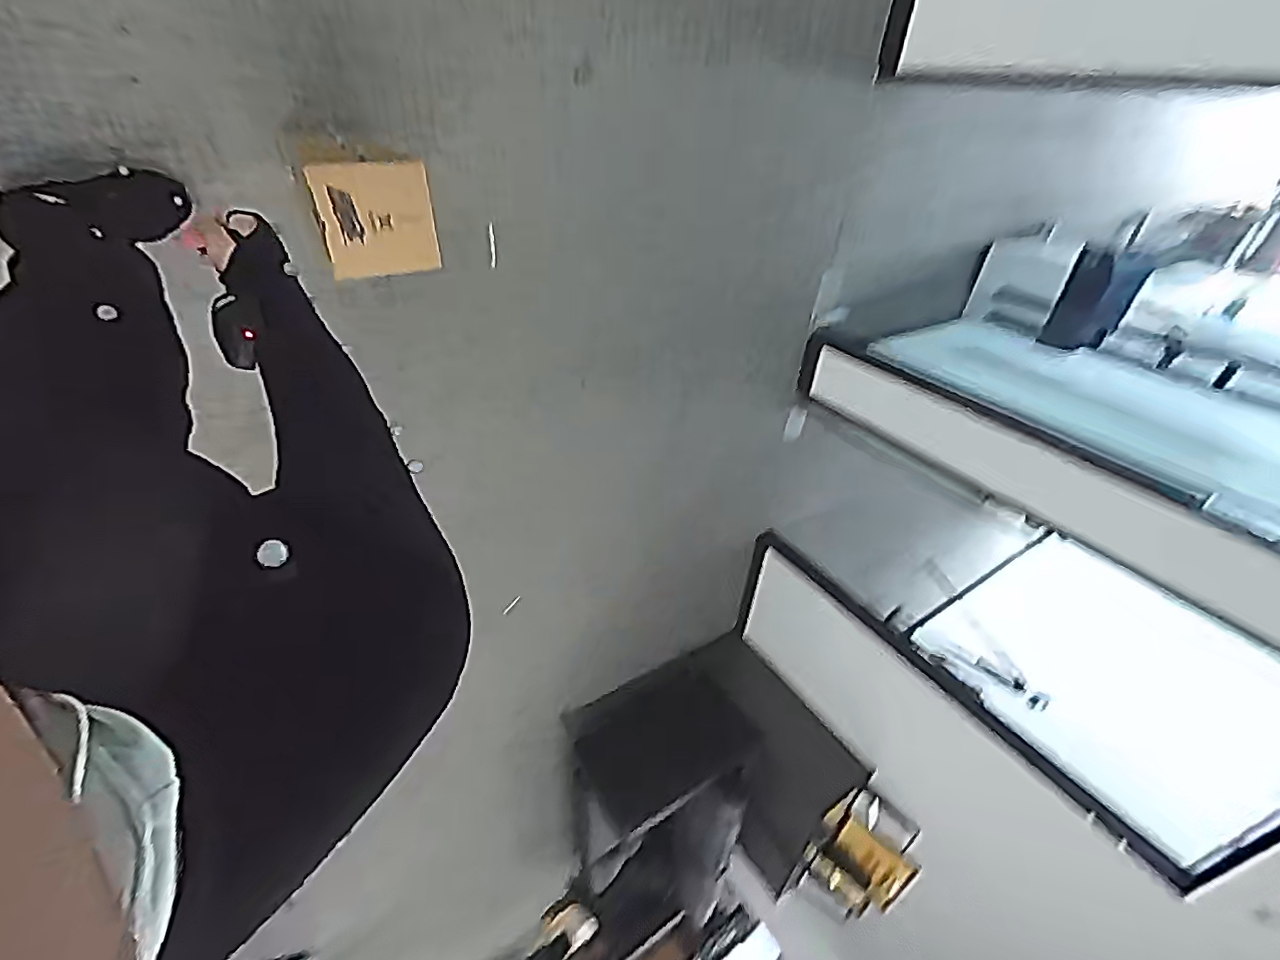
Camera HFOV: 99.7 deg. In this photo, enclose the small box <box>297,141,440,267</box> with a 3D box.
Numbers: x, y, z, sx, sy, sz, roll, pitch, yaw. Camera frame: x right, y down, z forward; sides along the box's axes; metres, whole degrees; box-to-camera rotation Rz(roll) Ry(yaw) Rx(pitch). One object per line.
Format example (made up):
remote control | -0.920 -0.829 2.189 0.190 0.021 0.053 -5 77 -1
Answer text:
small box | -0.465 -0.475 0.924 0.179 0.176 0.168 -20 132 -28
